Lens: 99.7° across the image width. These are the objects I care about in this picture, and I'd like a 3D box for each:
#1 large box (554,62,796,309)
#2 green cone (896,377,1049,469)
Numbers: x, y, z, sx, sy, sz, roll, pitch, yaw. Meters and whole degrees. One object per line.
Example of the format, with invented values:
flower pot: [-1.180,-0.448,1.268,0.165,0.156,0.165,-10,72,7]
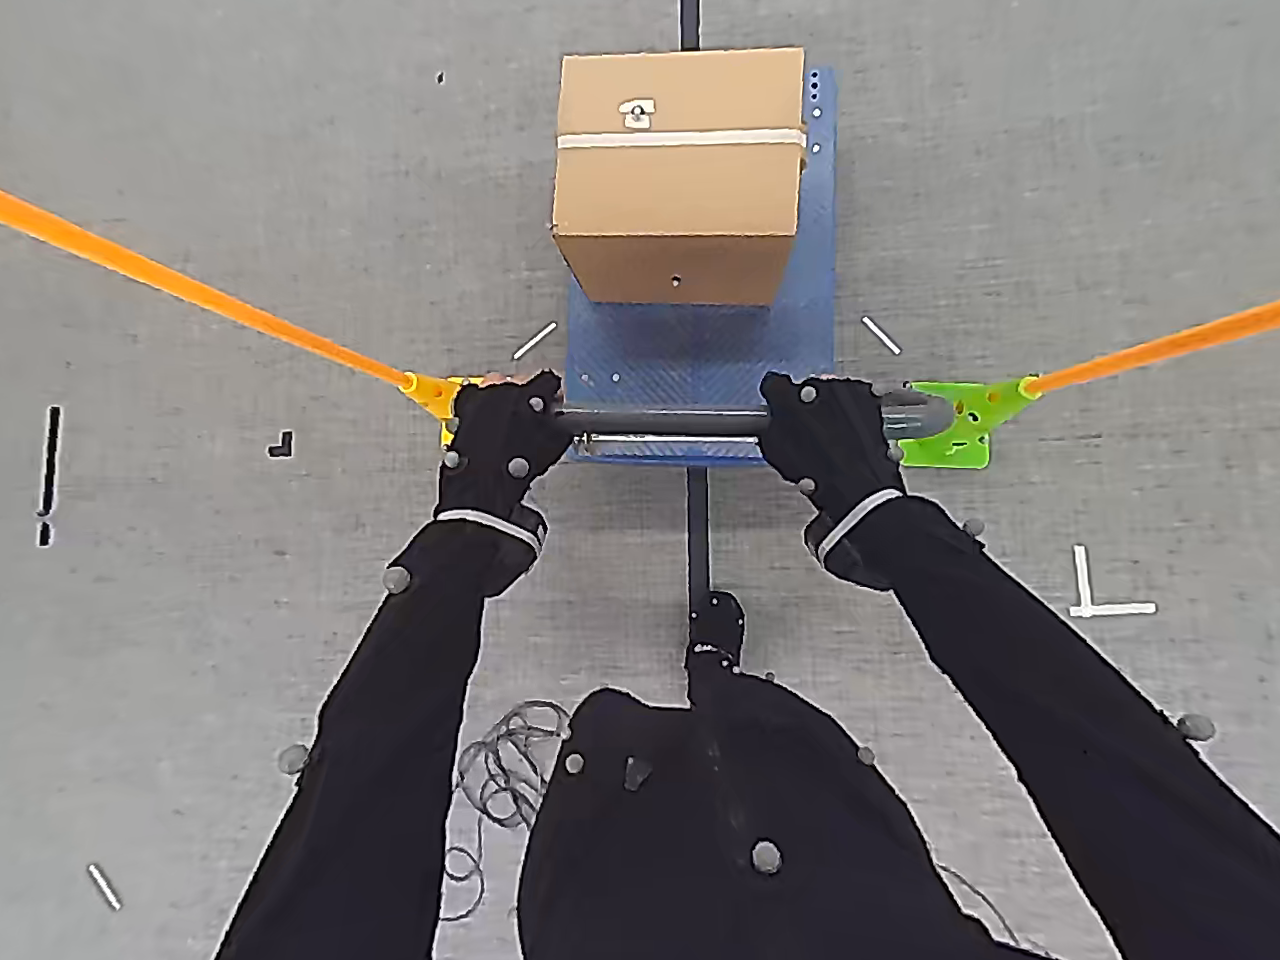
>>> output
large box: [0.076,-0.534,1.053,0.408,0.320,0.320,3,87,8]
green cone: [0.688,-0.139,1.095,0.202,0.368,0.200,2,86,6]
